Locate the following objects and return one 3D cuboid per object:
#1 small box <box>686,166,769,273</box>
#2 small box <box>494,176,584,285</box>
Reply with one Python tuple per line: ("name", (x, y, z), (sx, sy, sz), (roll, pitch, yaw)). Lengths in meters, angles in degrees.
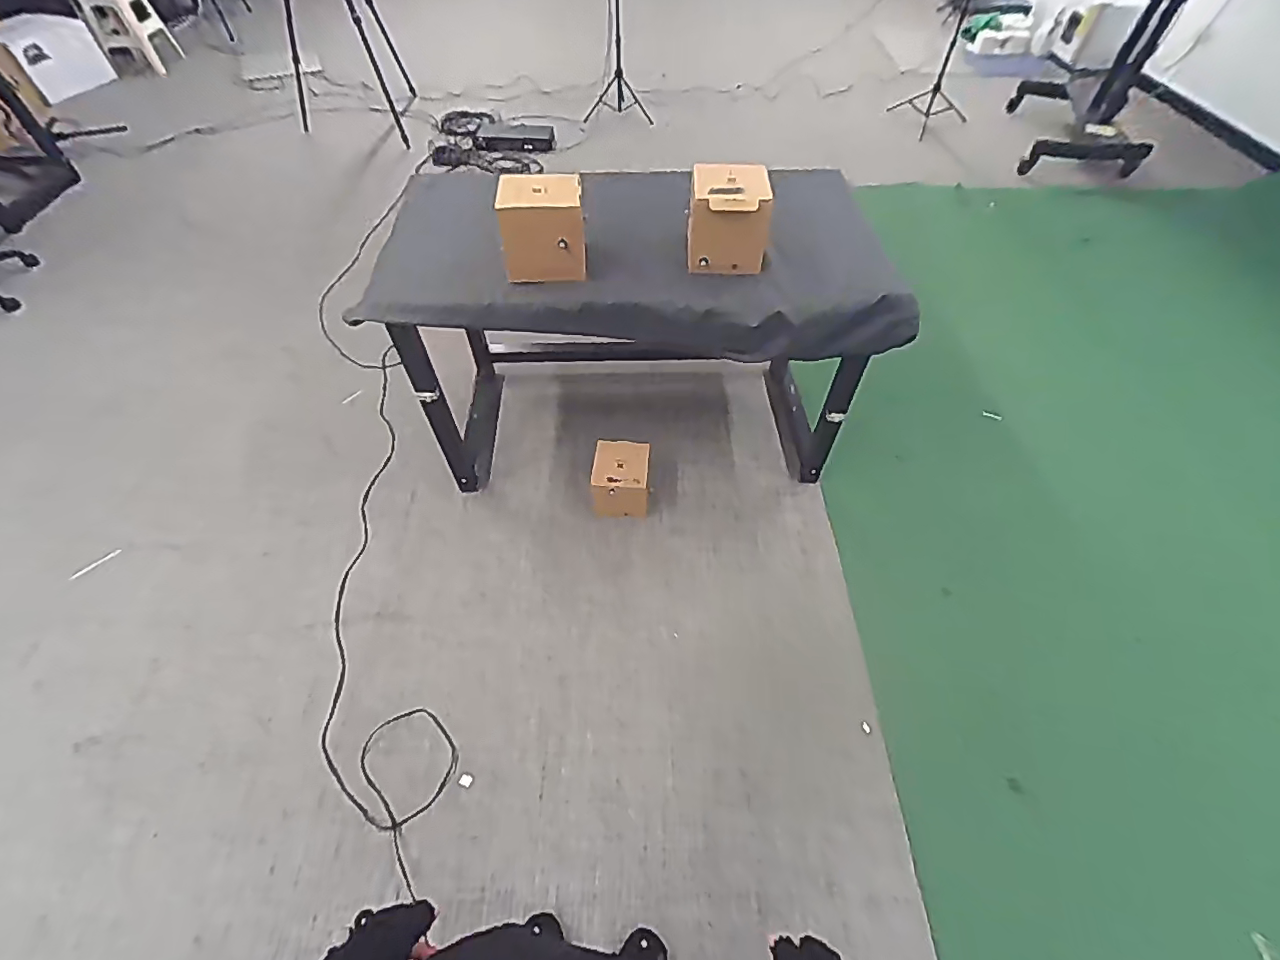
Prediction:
("small box", (0.193, -0.592, 1.235), (0.168, 0.176, 0.179), (2, 52, 2))
("small box", (-0.216, -0.555, 1.209), (0.179, 0.176, 0.168), (-5, 51, -3))
